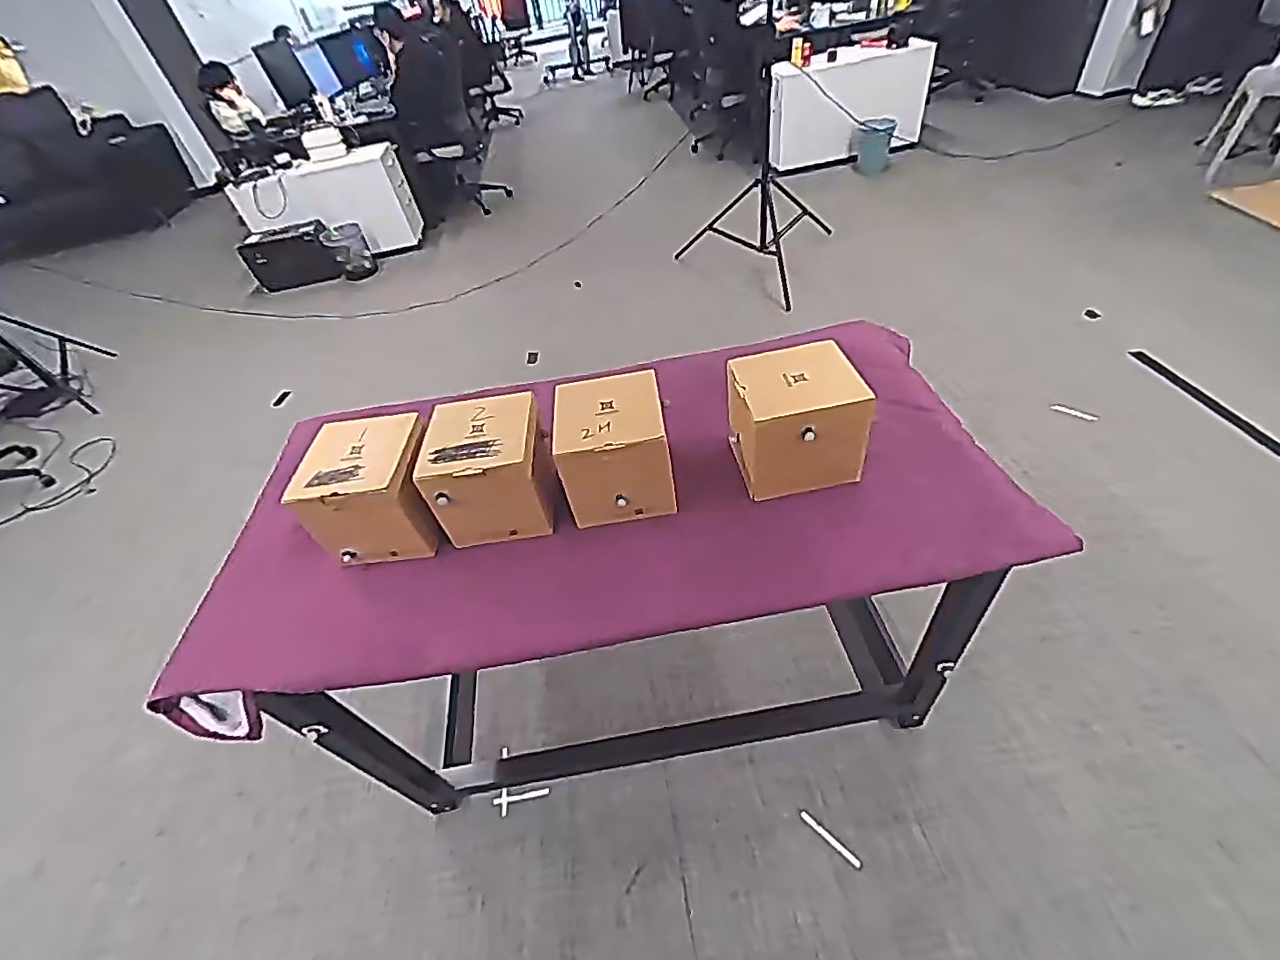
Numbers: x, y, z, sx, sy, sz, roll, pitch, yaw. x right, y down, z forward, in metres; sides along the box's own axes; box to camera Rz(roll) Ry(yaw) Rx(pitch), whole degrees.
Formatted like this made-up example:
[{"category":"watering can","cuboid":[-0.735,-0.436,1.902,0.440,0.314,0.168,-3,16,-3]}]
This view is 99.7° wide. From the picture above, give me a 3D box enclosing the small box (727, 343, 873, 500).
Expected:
[{"category":"small box","cuboid":[0.244,-0.091,0.868,0.179,0.176,0.168,-11,43,1]}]
